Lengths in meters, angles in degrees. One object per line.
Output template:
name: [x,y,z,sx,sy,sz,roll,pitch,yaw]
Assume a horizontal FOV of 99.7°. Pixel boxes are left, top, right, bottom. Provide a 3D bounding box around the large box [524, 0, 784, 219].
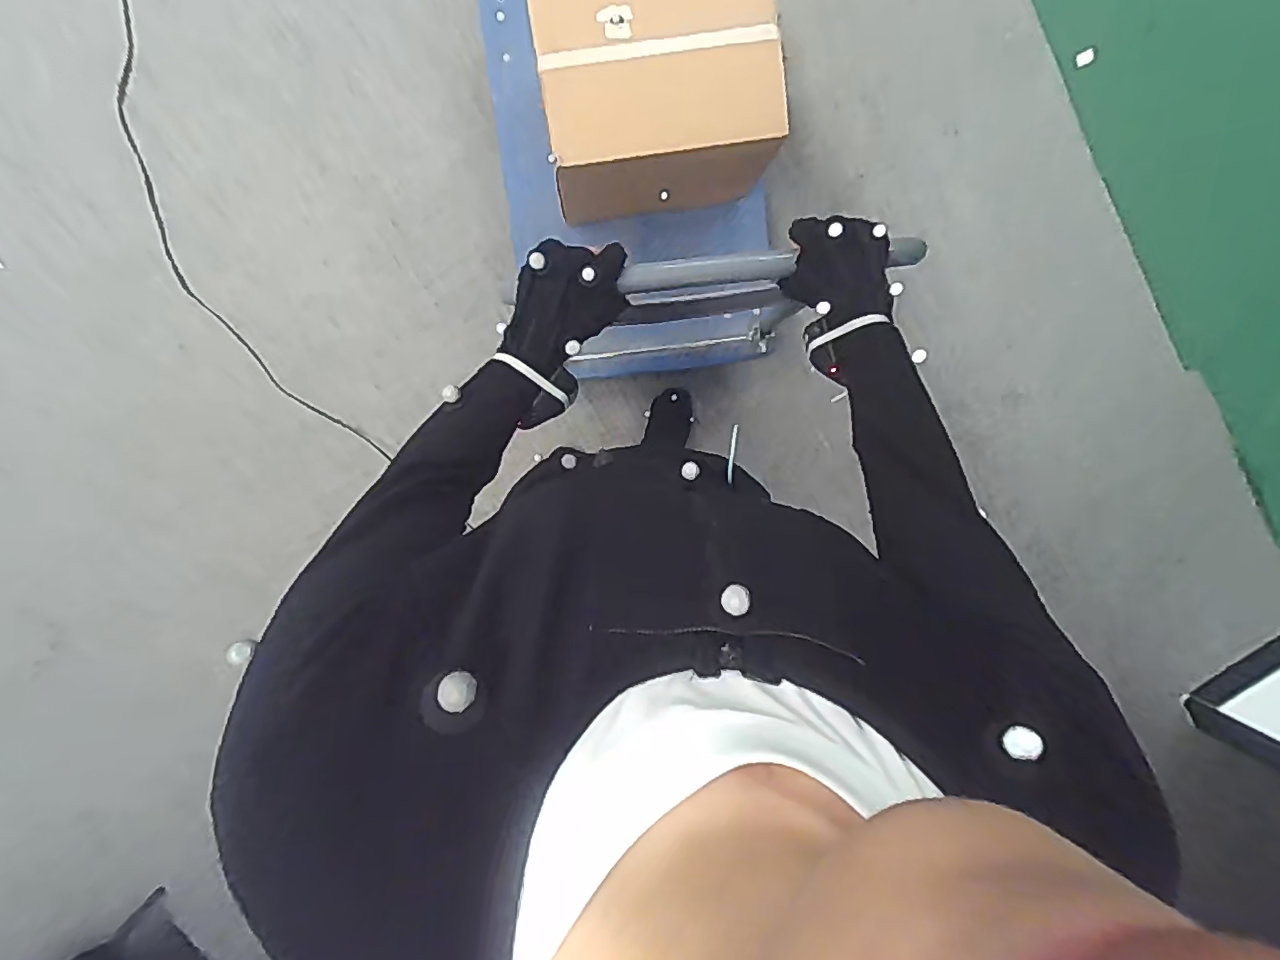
large box: [0.019,-0.734,1.037,0.408,0.320,0.320,-10,99,-2]
